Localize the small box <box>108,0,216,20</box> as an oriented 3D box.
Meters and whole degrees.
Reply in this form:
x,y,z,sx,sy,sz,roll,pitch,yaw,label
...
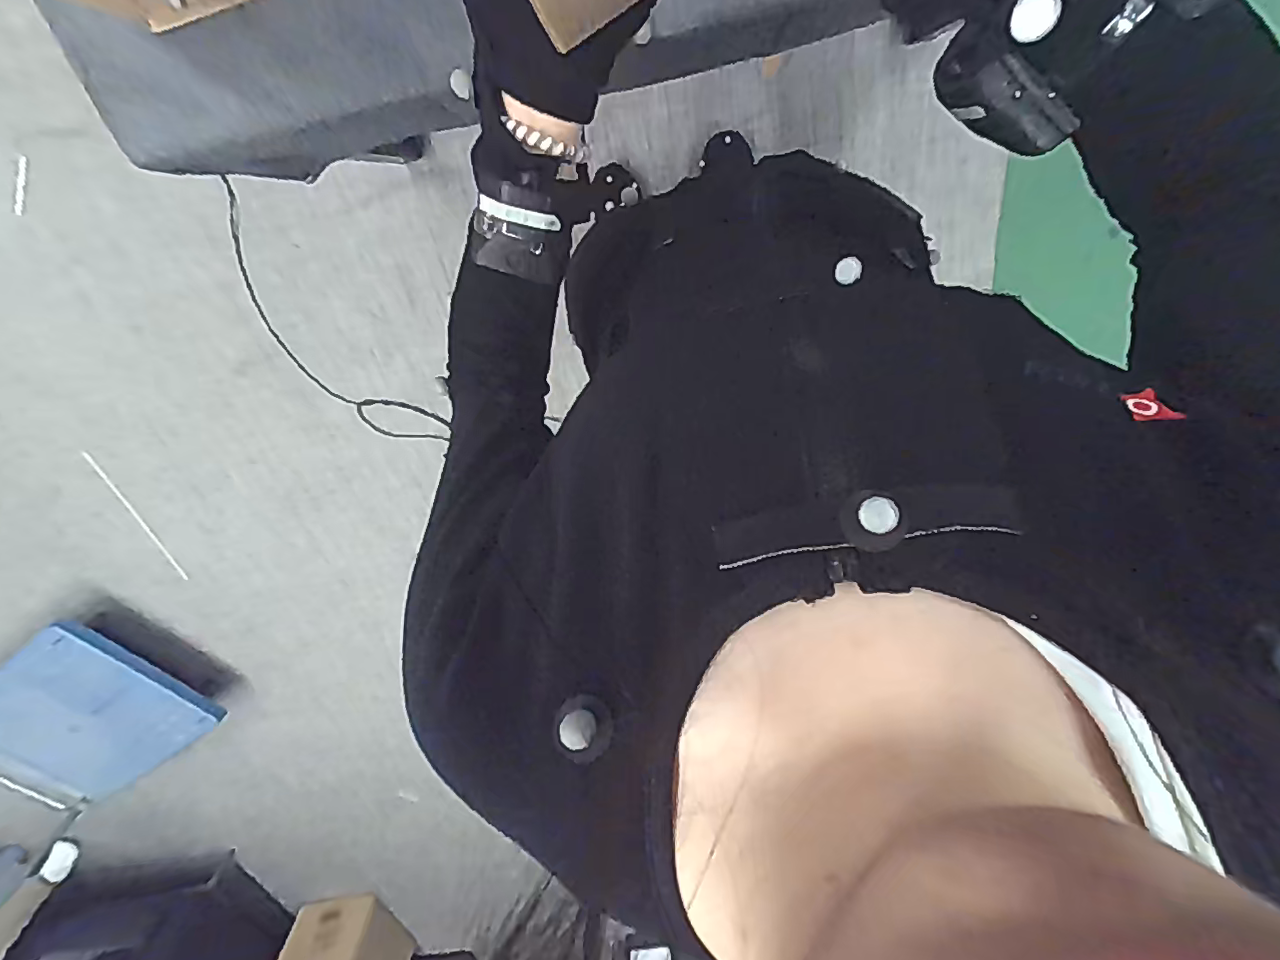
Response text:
x,y,z,sx,sy,sz,roll,pitch,yaw,label
-0.418,-0.497,0.407,0.168,0.176,0.179,-13,118,6,small box
